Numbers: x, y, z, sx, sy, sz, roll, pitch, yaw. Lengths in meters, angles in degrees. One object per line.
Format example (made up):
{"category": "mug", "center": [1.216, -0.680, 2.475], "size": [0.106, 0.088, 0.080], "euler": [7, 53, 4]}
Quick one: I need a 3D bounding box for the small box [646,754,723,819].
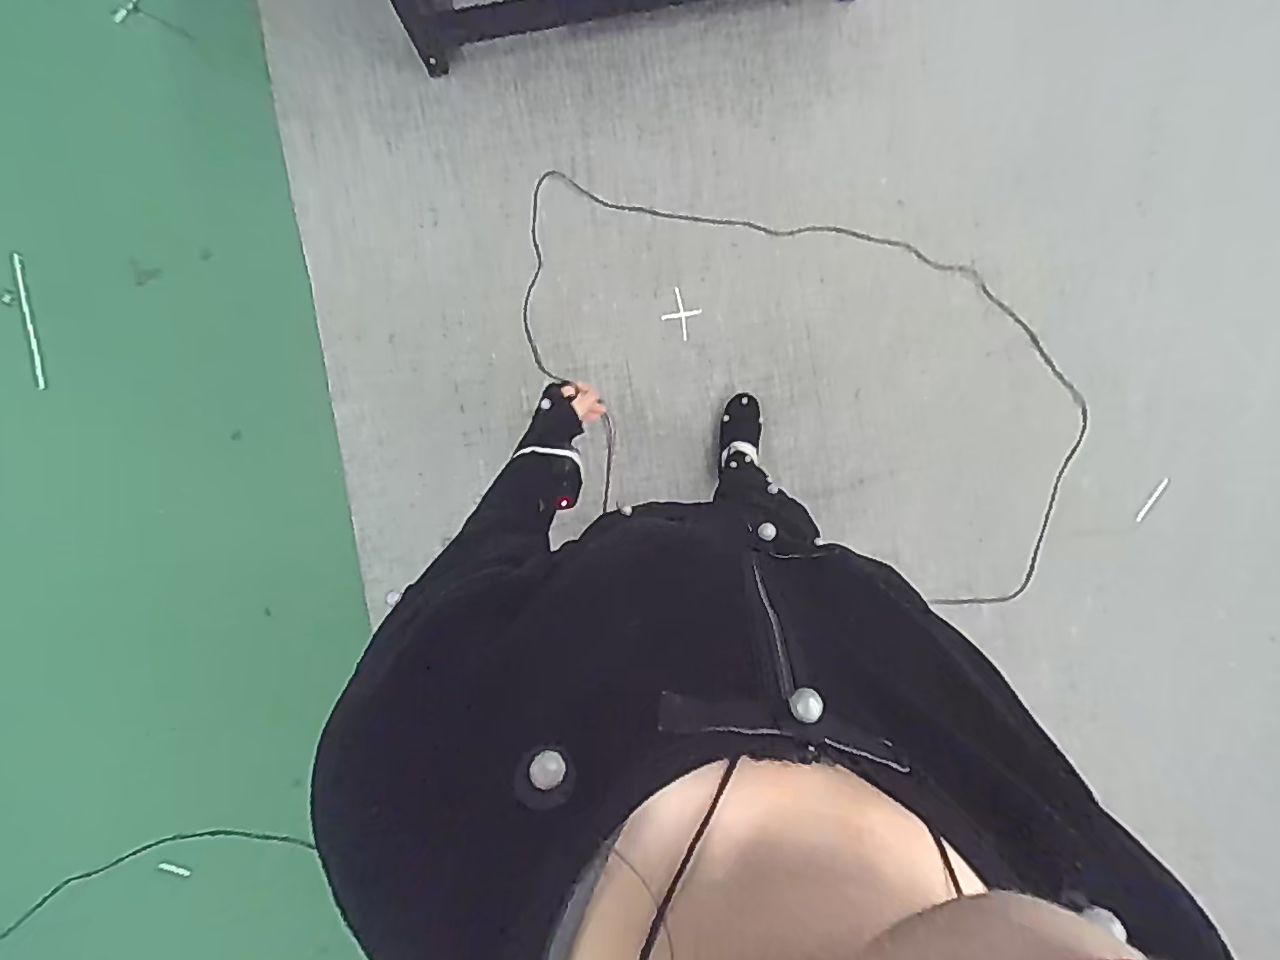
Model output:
{"category": "small box", "center": [0.117, 0.844, 1.405], "size": [0.179, 0.176, 0.168], "euler": [-14, 91, 3]}

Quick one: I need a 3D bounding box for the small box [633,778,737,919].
{"category": "small box", "center": [0.101, 0.834, 1.242], "size": [0.179, 0.176, 0.168], "euler": [-31, 90, 2]}
